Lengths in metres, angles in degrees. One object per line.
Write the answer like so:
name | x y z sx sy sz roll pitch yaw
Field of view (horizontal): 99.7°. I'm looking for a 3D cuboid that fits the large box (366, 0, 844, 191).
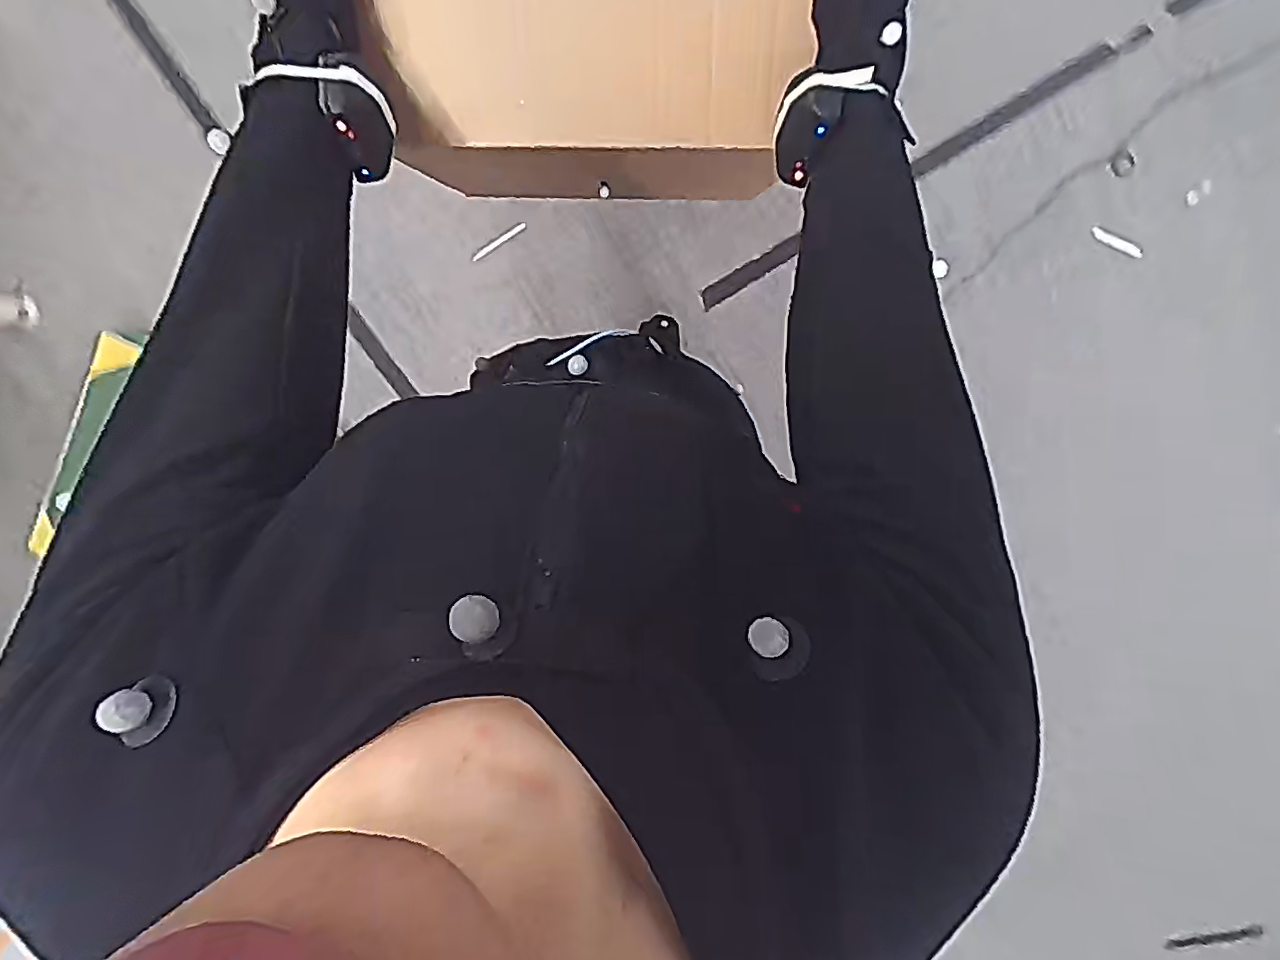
large box | -0.026 -0.497 0.569 0.408 0.320 0.320 1 109 0
